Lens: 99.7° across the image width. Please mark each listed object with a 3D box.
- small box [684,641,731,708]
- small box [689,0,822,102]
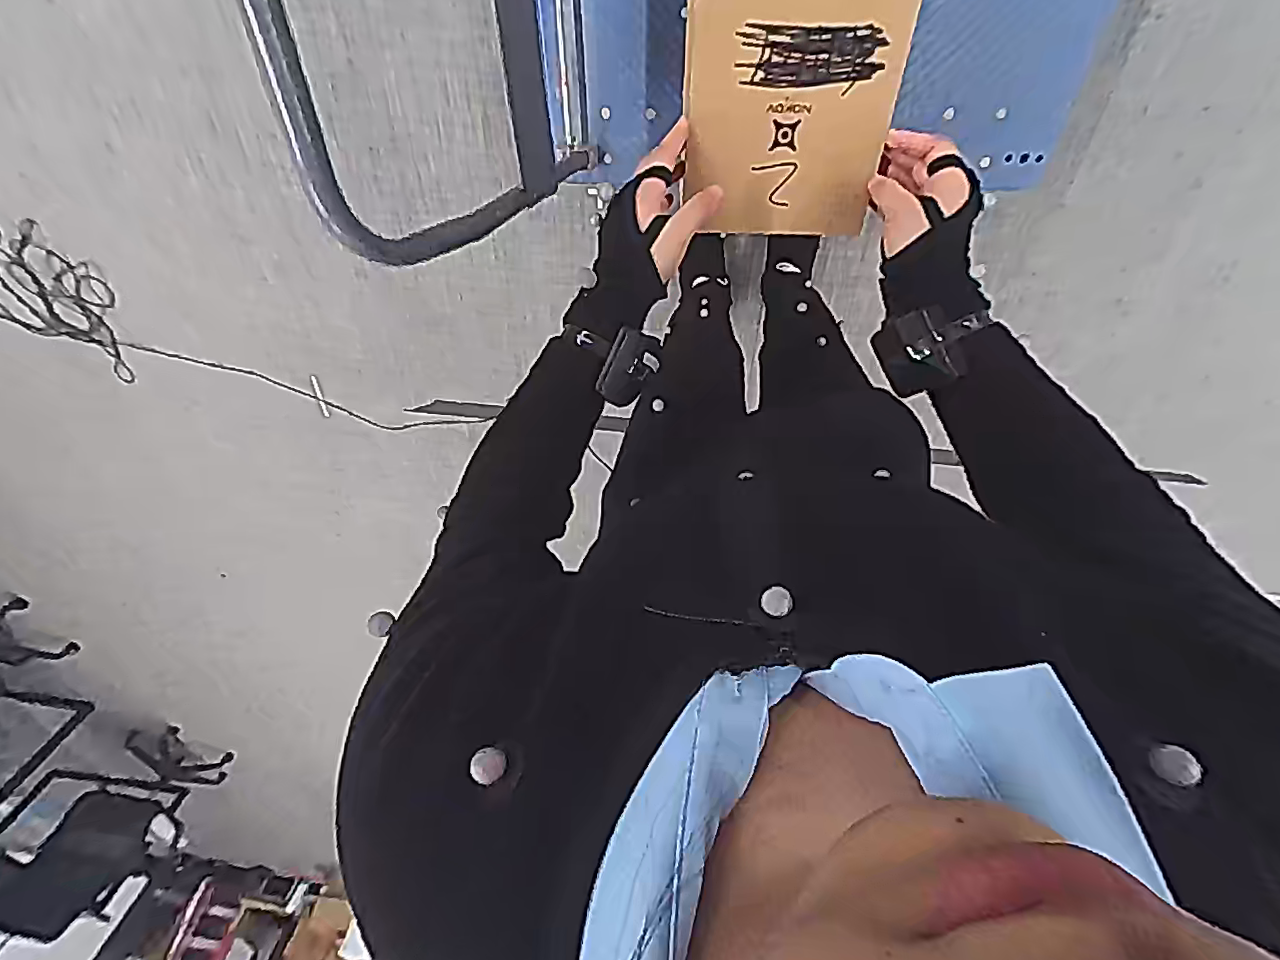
[{"bbox_3d":[0.265,0.761,2.117,0.168,0.176,0.179,4,127,6],"label":"small box"},{"bbox_3d":[0.167,-0.670,0.791,0.168,0.176,0.179,8,128,4],"label":"small box"}]
